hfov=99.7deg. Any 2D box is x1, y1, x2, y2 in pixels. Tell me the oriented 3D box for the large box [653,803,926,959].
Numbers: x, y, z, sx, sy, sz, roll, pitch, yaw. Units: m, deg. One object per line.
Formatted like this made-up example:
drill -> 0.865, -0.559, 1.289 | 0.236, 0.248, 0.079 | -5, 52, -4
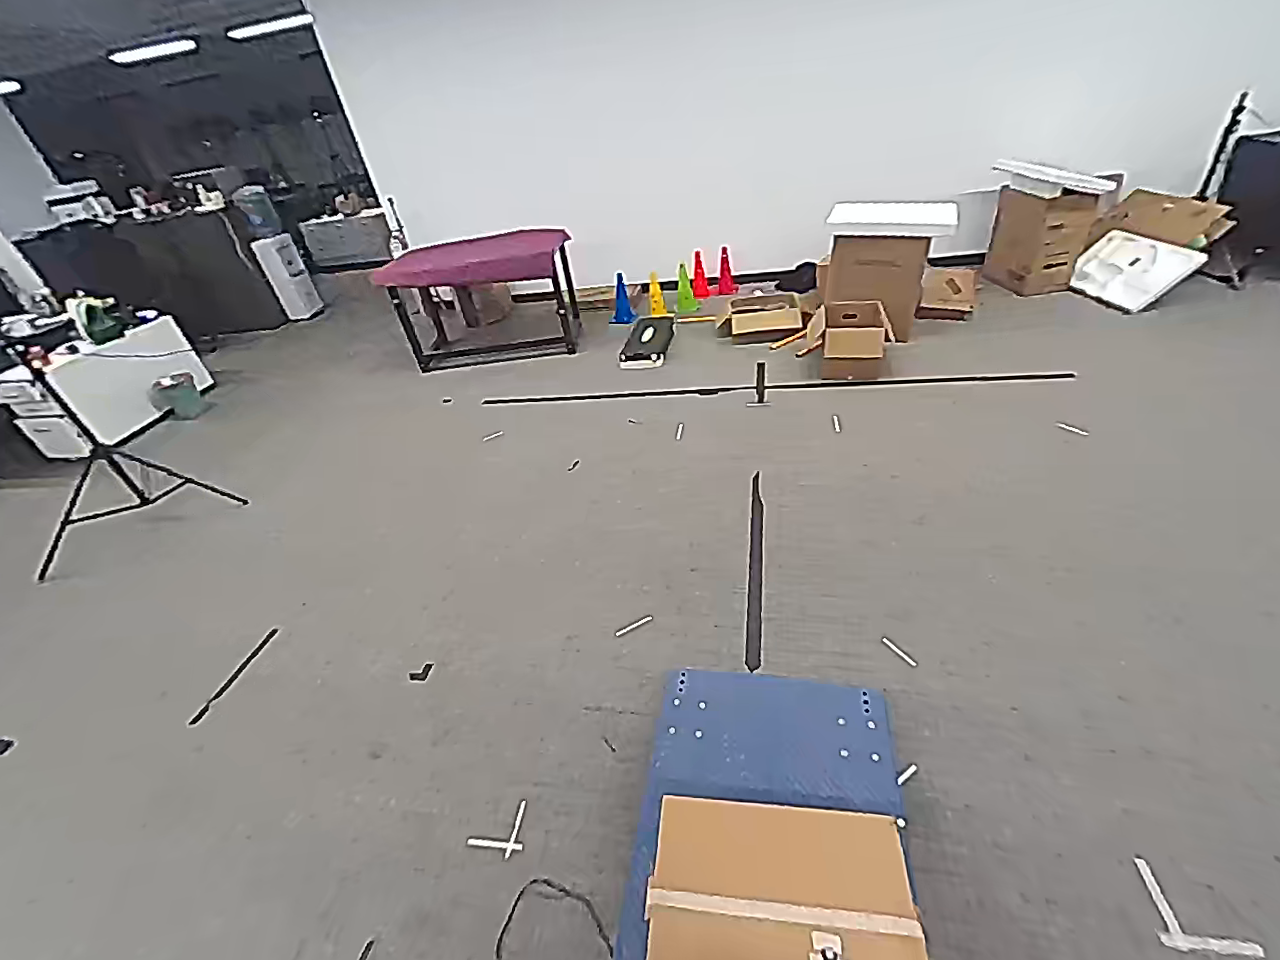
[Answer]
large box -> 0.239, 0.800, 0.928 | 0.408, 0.320, 0.320 | -1, 37, 10
